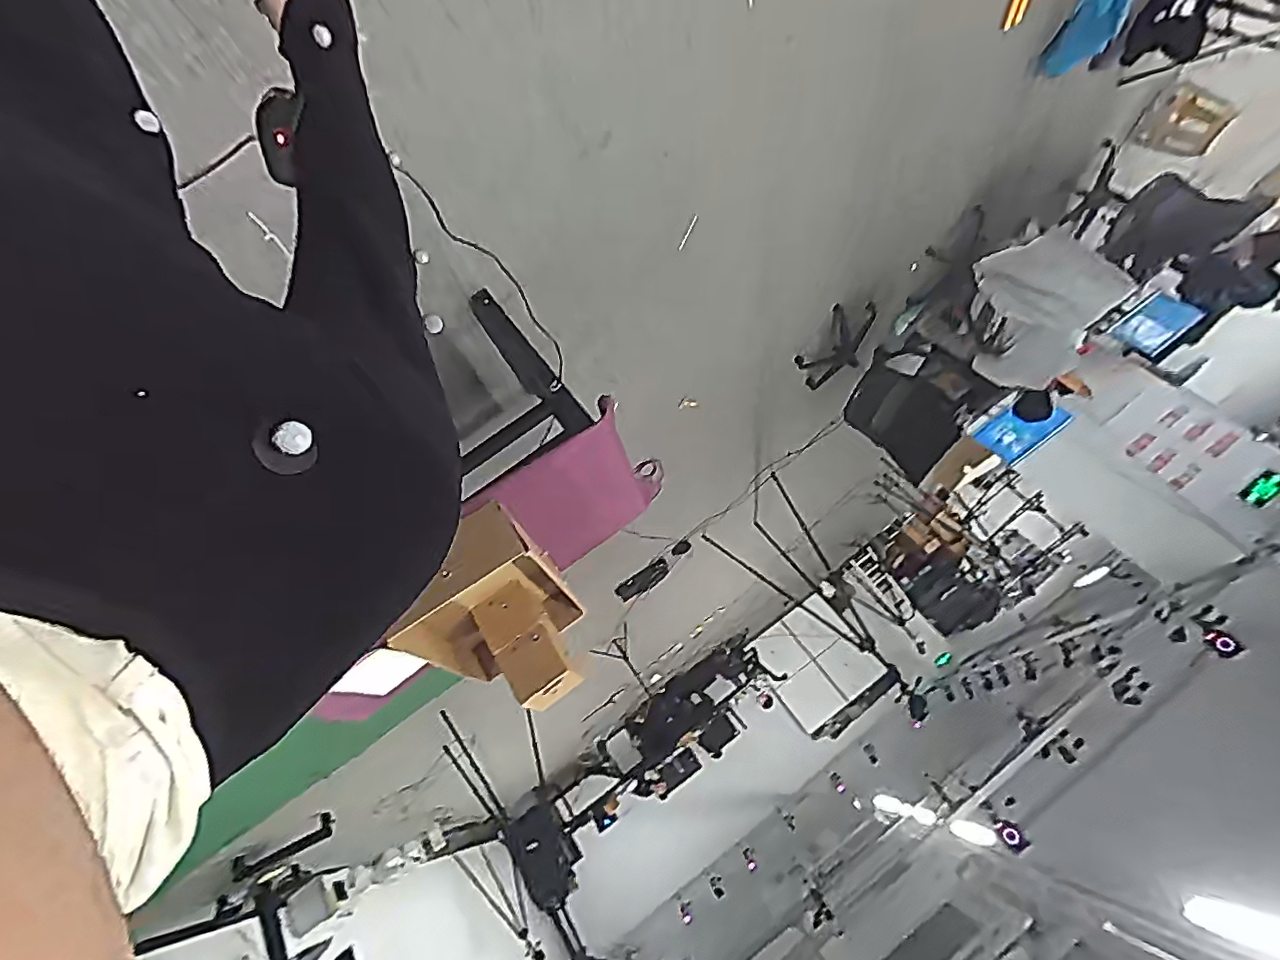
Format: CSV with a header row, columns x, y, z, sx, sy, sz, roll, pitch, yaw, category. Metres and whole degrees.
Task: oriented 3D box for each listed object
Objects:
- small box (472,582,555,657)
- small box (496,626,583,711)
x,y,z,sx,sy,sz,roll,pitch,yaw,category
-0.390,0.442,1.680,0.168,0.176,0.179,-35,150,-7,small box
-0.299,0.557,1.607,0.168,0.176,0.179,-35,151,-6,small box
